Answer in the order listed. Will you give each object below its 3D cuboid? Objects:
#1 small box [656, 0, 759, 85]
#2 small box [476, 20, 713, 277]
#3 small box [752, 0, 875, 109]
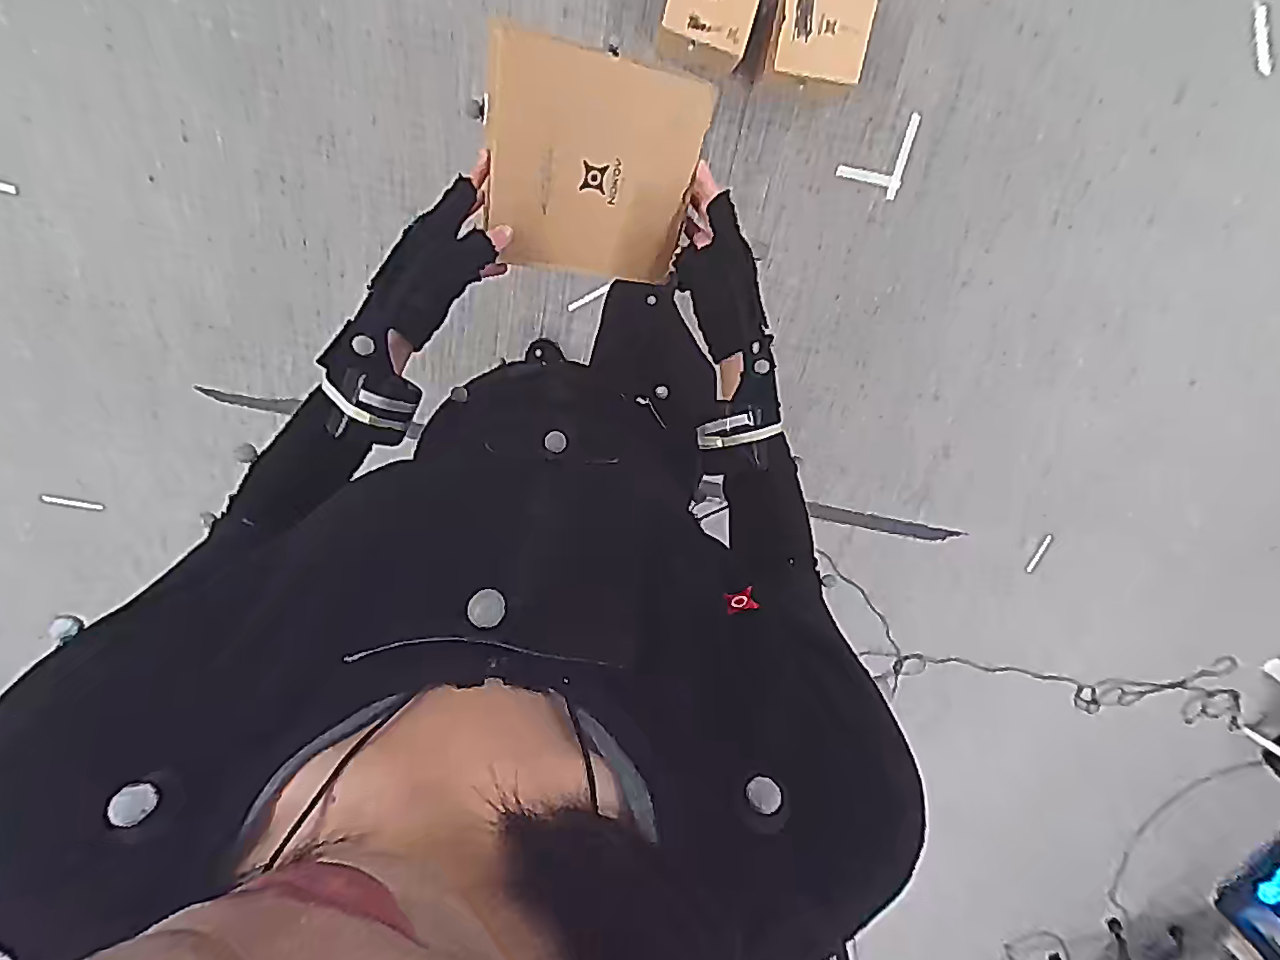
[{"bbox_3d":[0.134,-0.926,1.067,0.168,0.176,0.179,14,112,-8],"label":"small box"},{"bbox_3d":[-0.059,-0.314,0.516,0.179,0.176,0.168,0,129,-20],"label":"small box"},{"bbox_3d":[0.341,-0.879,1.099,0.179,0.176,0.168,6,114,-7],"label":"small box"}]
